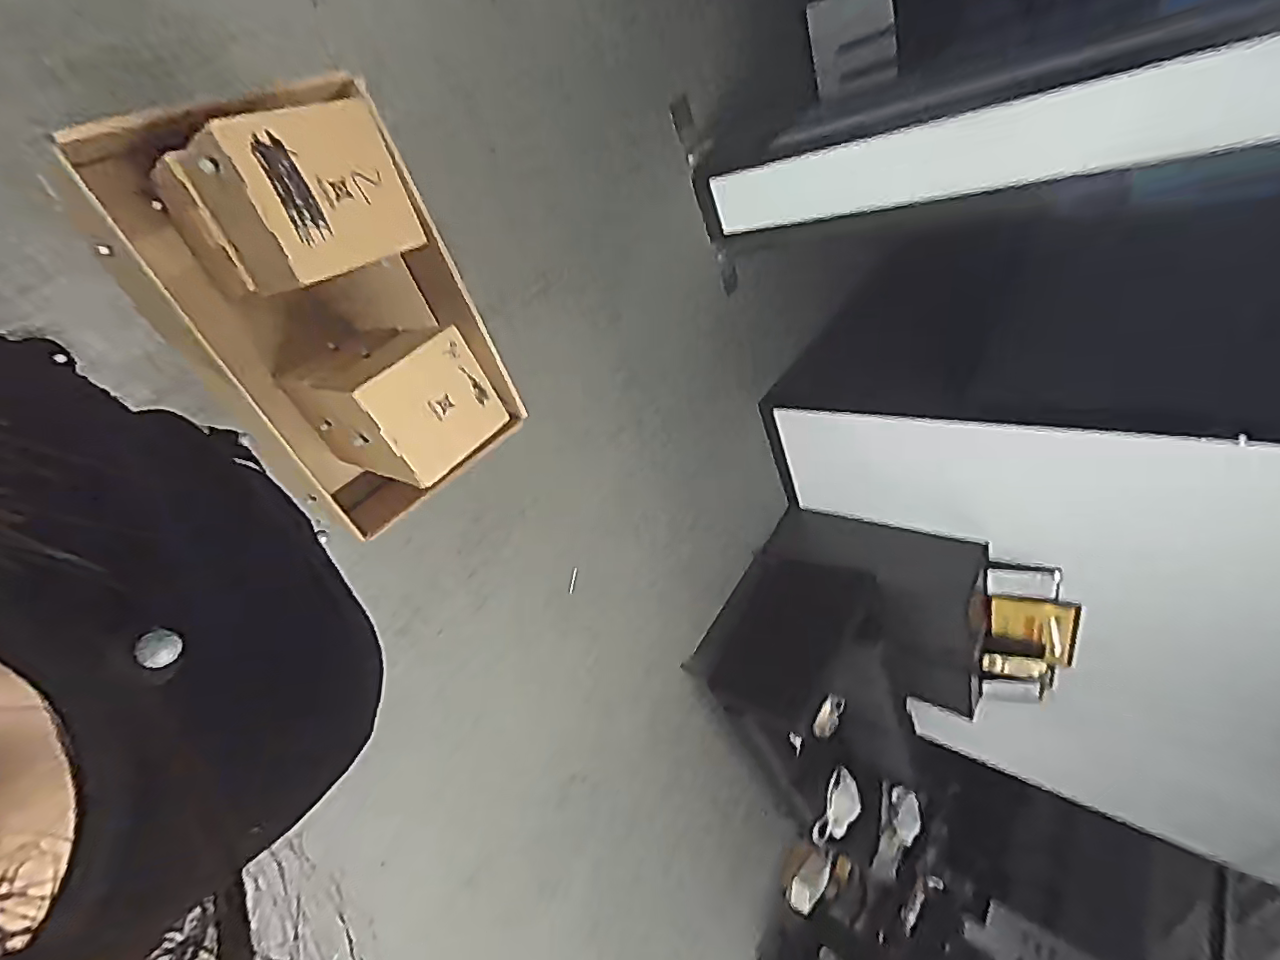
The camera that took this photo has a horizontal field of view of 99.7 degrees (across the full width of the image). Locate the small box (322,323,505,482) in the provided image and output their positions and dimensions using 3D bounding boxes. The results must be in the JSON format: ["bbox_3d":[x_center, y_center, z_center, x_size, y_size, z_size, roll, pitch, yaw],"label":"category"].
[{"bbox_3d":[-0.349,-0.122,0.823,0.179,0.176,0.168,-47,131,-30],"label":"small box"}]
